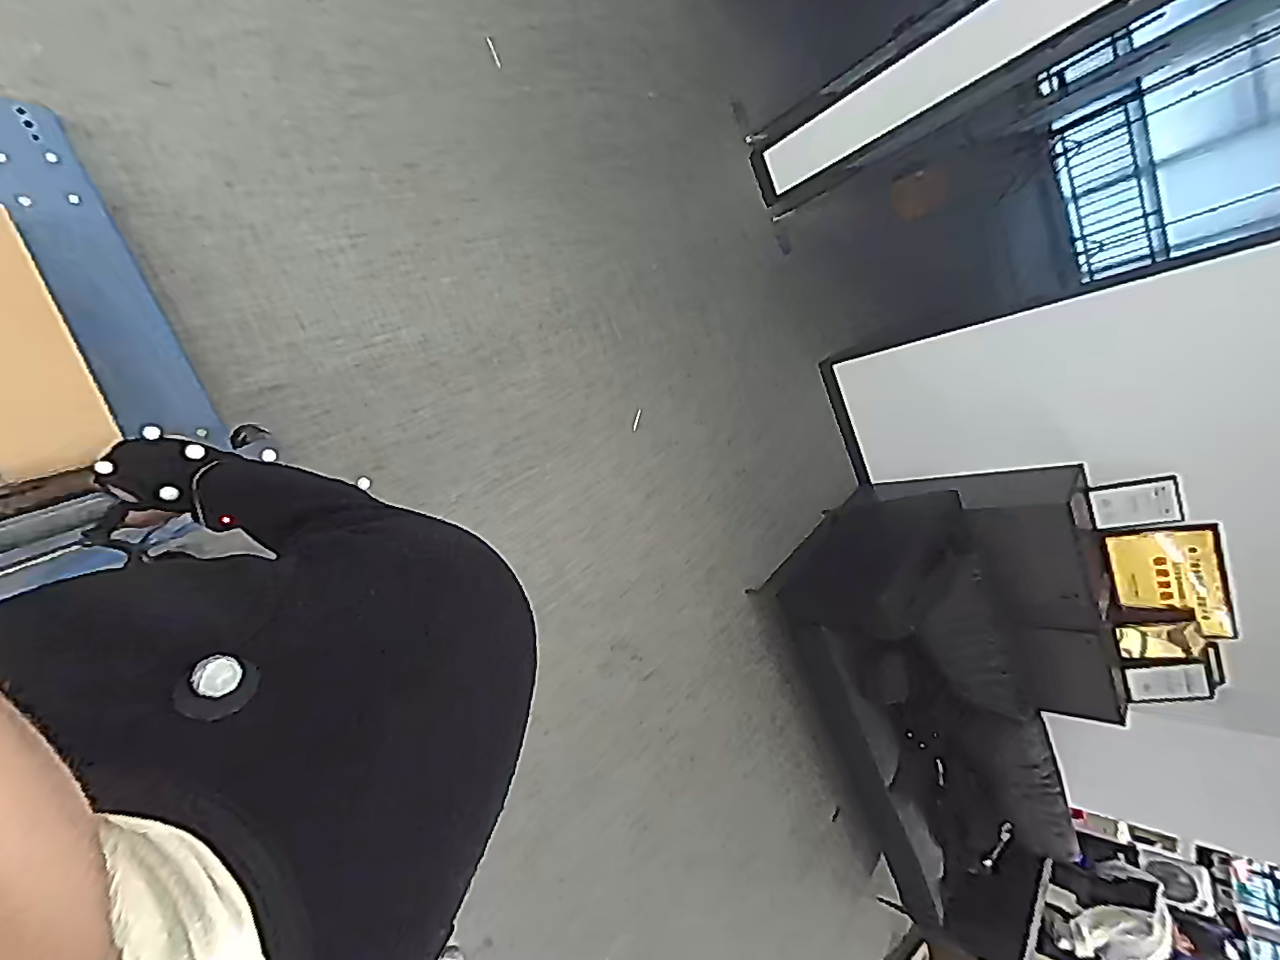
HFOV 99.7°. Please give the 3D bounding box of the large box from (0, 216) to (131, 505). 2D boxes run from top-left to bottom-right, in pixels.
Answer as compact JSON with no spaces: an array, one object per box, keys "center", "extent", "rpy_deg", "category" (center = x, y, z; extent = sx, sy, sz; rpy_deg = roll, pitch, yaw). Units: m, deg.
[{"center":[-1.101,-0.165,0.853],"extent":[0.320,0.320,0.408],"rpy_deg":[-27,102,-40],"category":"large box"}]
